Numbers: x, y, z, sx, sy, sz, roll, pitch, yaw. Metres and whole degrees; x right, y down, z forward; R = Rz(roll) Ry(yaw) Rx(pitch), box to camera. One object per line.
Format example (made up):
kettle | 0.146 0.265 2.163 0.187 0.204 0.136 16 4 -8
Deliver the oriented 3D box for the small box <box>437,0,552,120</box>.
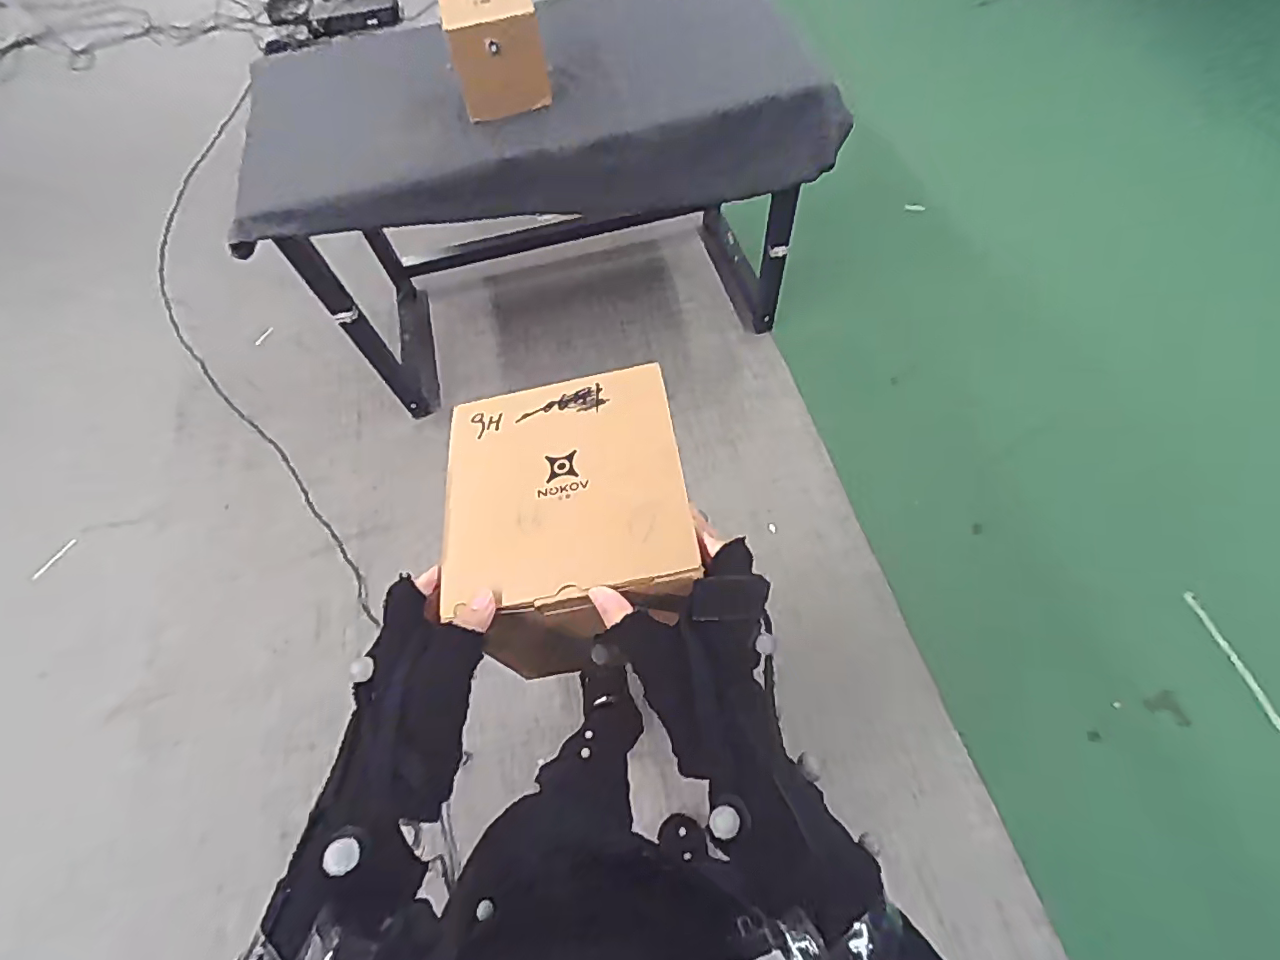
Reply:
small box | -0.289 -0.863 1.091 0.179 0.176 0.168 -15 63 -5

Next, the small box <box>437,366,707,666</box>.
small box | -0.043 0.041 0.436 0.168 0.176 0.179 -11 58 4
